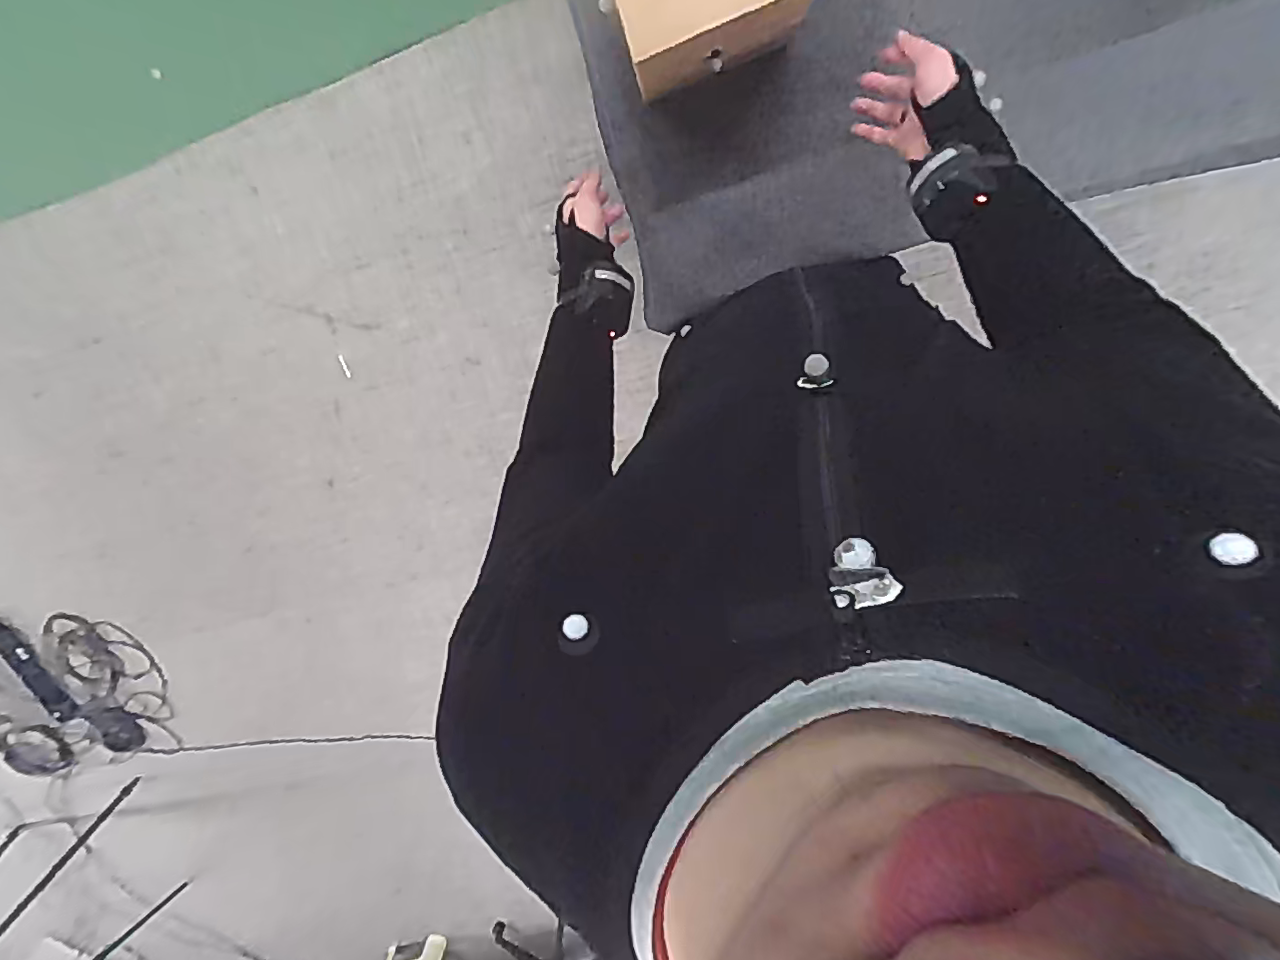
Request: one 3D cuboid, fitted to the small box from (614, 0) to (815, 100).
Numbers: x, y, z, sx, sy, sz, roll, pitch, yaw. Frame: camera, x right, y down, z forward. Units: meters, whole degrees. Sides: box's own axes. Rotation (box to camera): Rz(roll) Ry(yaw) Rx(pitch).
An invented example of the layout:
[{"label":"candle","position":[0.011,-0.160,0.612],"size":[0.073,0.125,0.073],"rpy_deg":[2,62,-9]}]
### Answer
[{"label":"small box","position":[0.057,-0.506,0.523],"size":[0.179,0.176,0.168],"rpy_deg":[-15,112,12]}]
